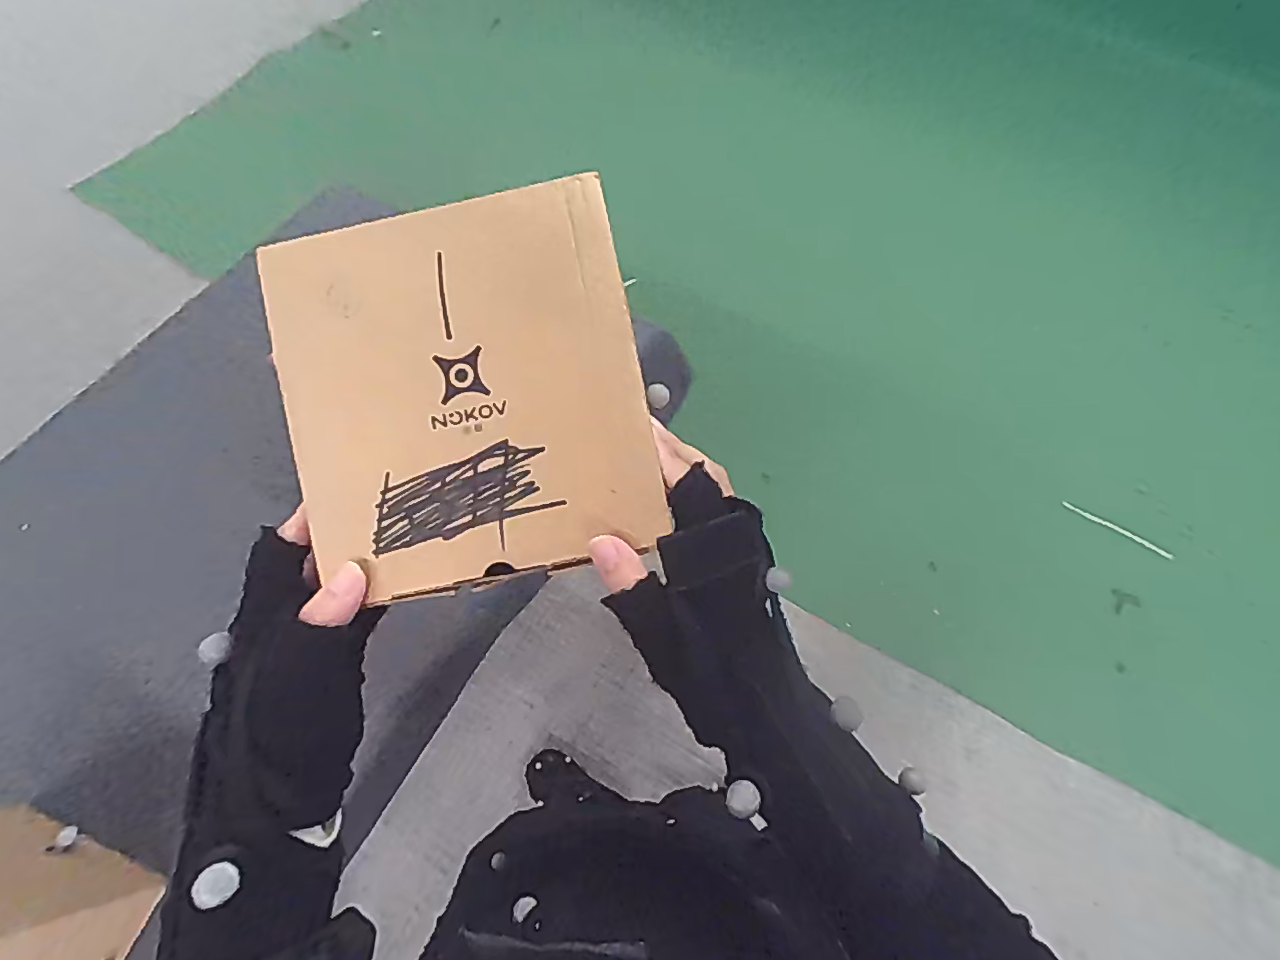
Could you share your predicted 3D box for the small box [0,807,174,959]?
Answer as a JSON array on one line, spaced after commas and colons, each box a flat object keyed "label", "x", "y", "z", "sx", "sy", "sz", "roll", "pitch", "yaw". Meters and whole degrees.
[{"label": "small box", "x": -0.545, "y": 0.380, "z": 0.423, "sx": 0.179, "sy": 0.176, "sz": 0.168, "roll": 19, "pitch": 67, "yaw": 8}]

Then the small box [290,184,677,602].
[{"label": "small box", "x": -0.070, "y": -0.039, "z": 0.334, "sx": 0.168, "sy": 0.176, "sz": 0.179, "roll": -10, "pitch": 88, "yaw": 3}]
